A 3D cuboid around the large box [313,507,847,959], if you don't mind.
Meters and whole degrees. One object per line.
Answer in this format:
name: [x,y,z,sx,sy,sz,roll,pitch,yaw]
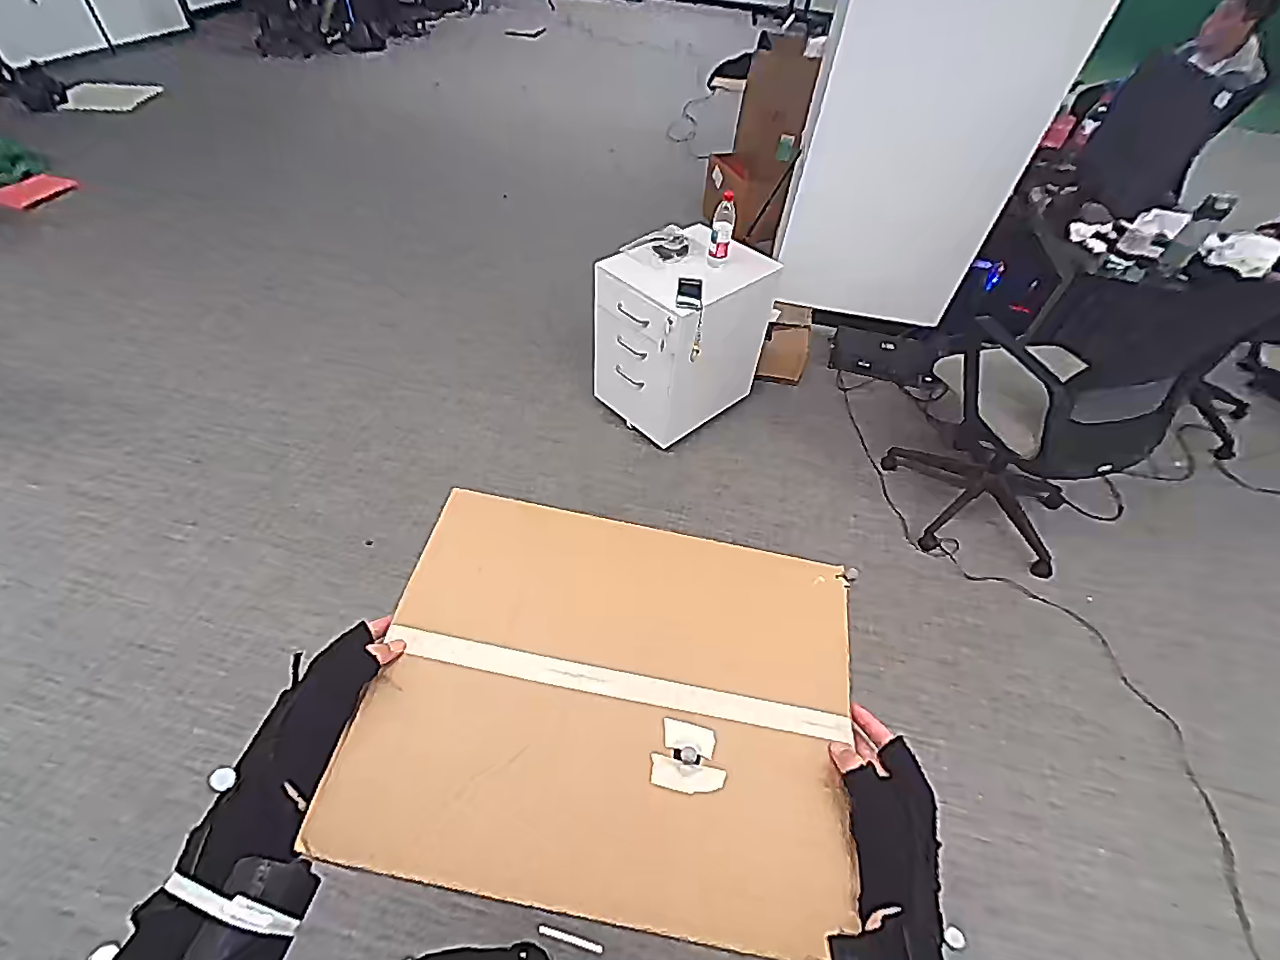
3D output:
large box: [-0.038,0.268,0.595,0.408,0.320,0.320,12,57,0]
